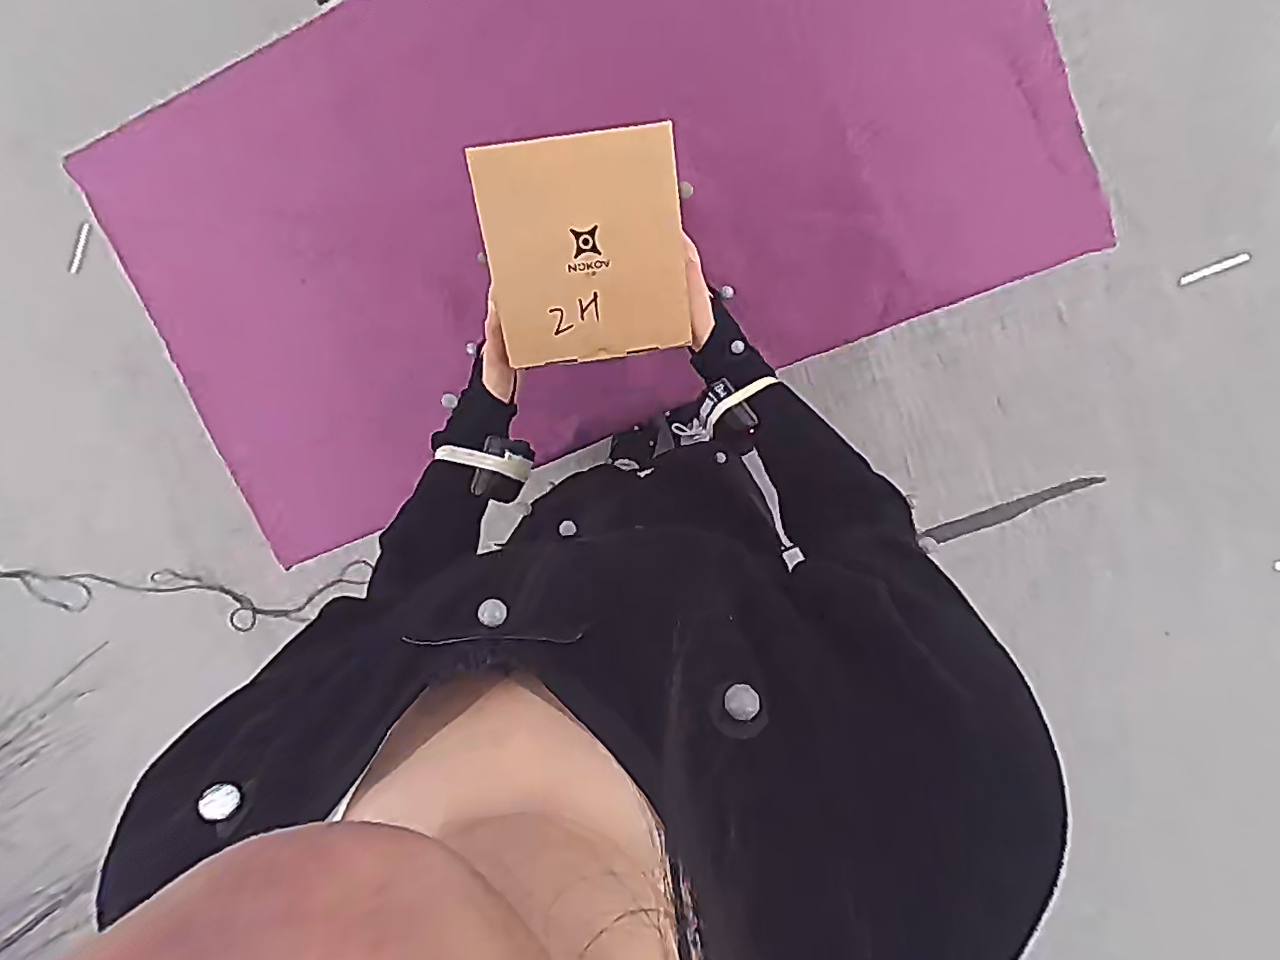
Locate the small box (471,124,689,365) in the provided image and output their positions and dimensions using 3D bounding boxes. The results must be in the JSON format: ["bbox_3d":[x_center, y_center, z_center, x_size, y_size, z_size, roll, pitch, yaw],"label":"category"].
[{"bbox_3d":[-0.050,-0.216,0.528,0.168,0.176,0.179,-7,109,-1],"label":"small box"}]
